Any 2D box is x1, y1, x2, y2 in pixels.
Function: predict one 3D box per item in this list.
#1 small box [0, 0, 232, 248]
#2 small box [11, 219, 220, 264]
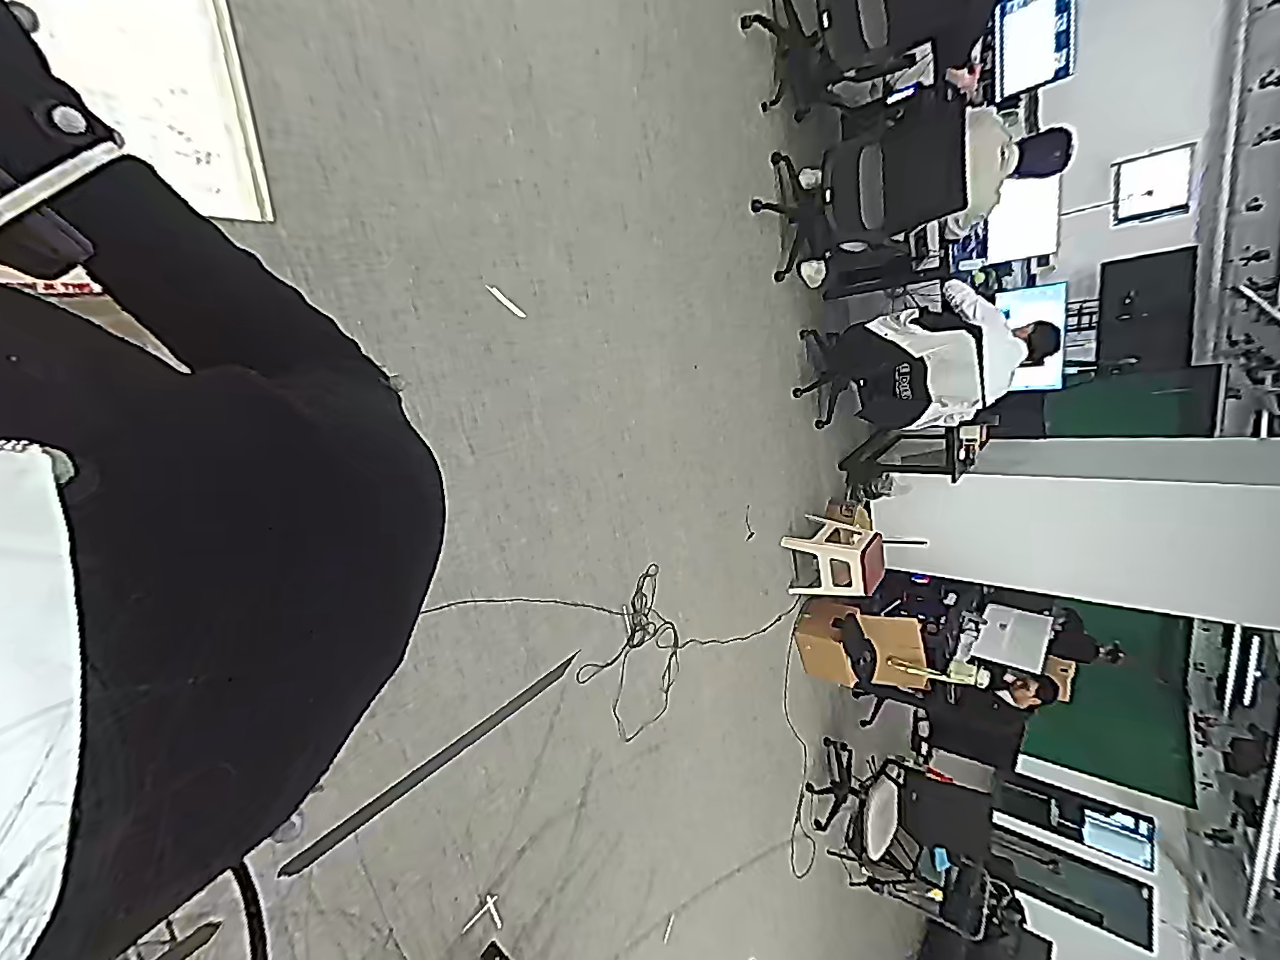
[{"bbox_3d":[-0.575,-0.364,0.575,0.168,0.176,0.179,-19,109,-48],"label":"small box"},{"bbox_3d":[-0.689,-0.381,0.694,0.179,0.176,0.168,-24,112,-46],"label":"small box"}]
